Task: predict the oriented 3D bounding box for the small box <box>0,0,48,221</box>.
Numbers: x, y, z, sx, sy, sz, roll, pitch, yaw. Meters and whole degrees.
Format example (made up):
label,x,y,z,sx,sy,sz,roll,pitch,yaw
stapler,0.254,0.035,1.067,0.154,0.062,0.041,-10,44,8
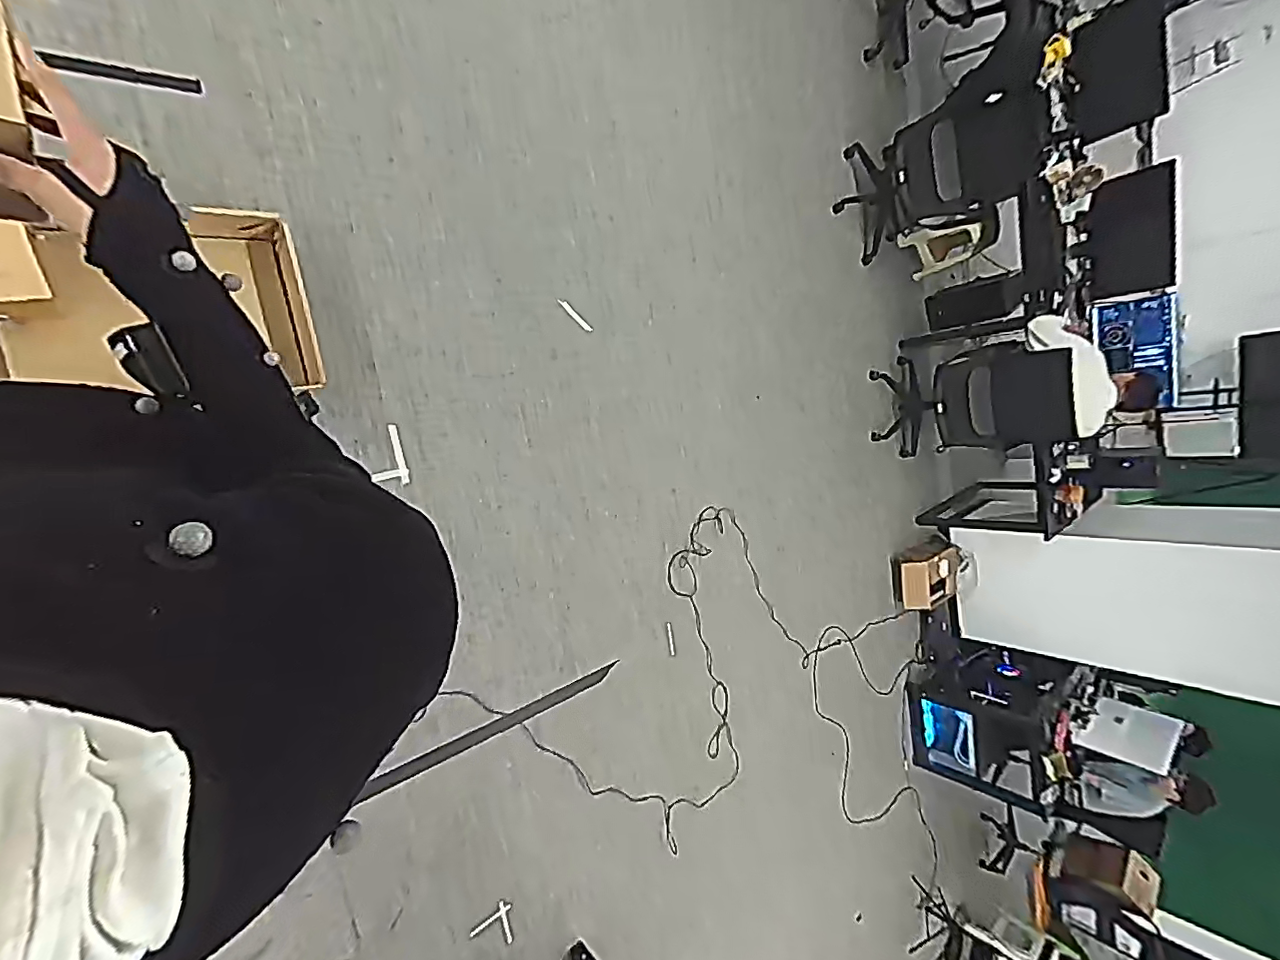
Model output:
label,x,y,z,sx,sy,sz,roll,pitch,yaw
small box,-0.571,-0.313,0.391,0.179,0.176,0.168,-11,92,-43
